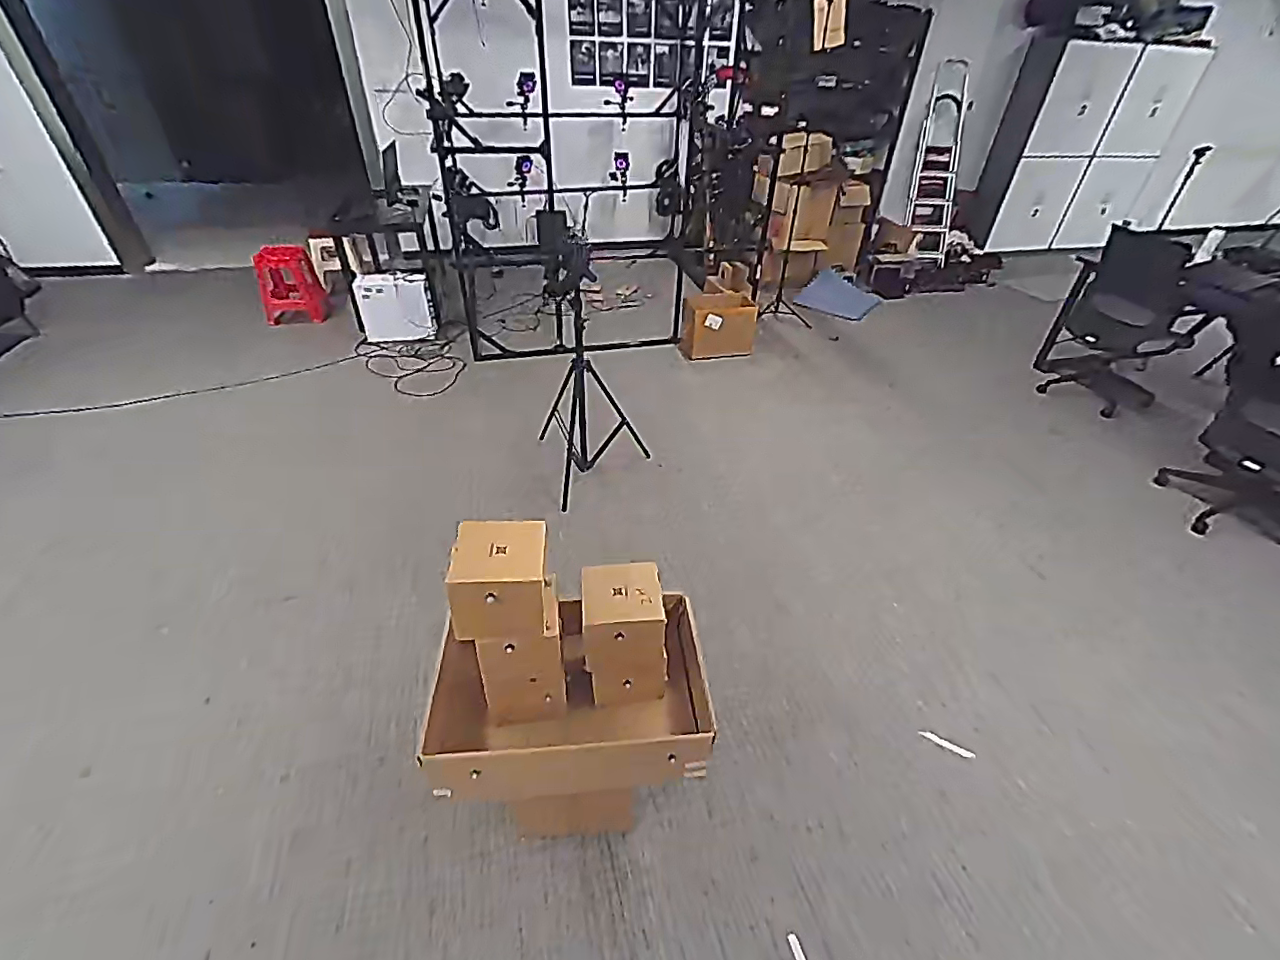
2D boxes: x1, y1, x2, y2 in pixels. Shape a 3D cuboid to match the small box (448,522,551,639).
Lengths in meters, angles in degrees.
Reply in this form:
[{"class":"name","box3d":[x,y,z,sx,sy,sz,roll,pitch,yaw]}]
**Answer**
[{"class":"small box","box3d":[-0.270,0.201,1.084,0.179,0.176,0.168,-1,37,-6]}]
